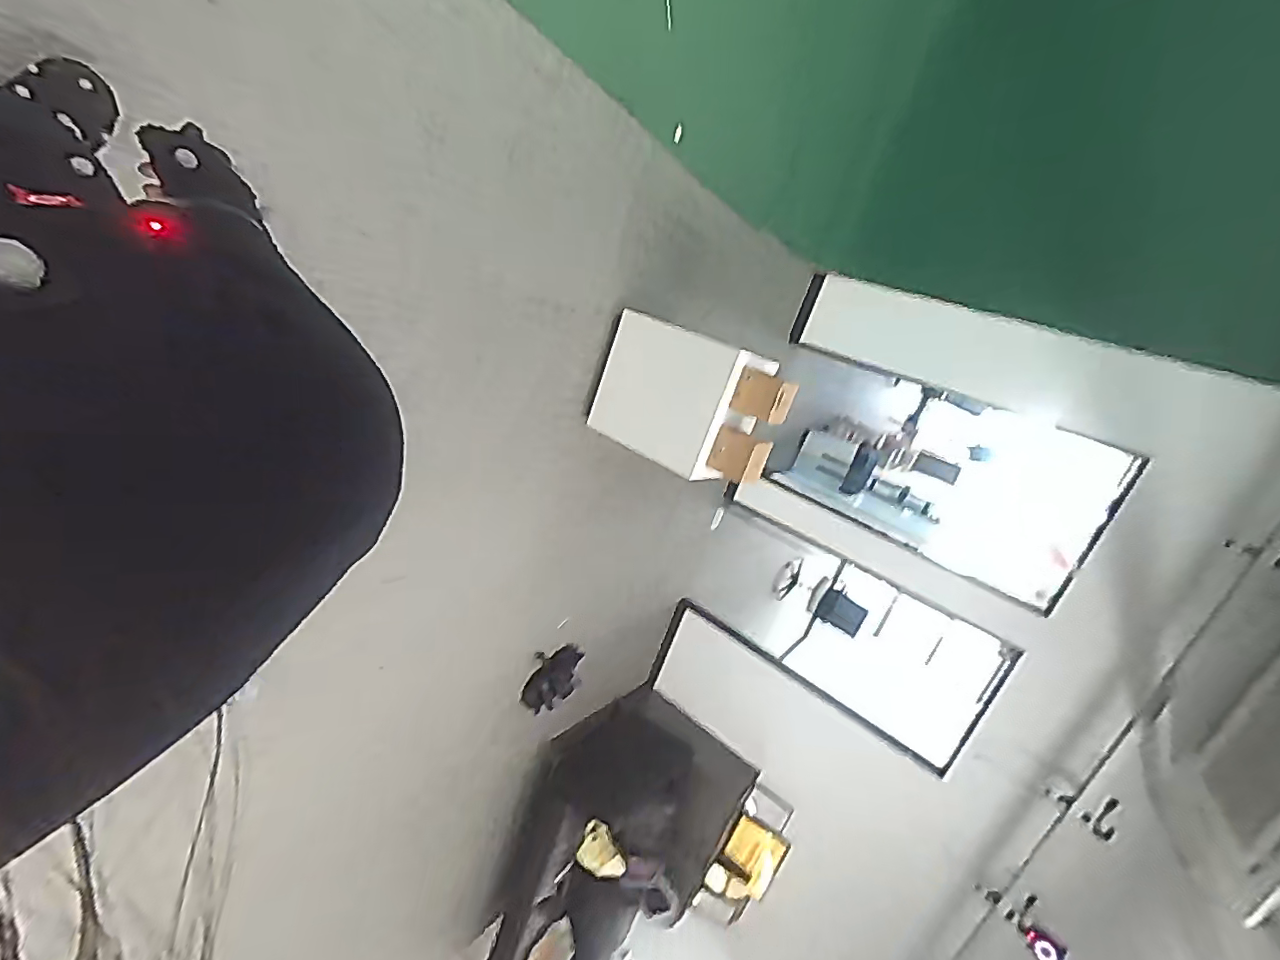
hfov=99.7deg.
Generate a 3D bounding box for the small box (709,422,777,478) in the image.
[{"bbox_3d":[0.397,-0.121,2.094,0.179,0.176,0.168,-7,121,-53],"label":"small box"}]

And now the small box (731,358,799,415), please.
[{"bbox_3d":[0.467,-0.350,2.030,0.179,0.176,0.168,-10,125,-55],"label":"small box"}]
